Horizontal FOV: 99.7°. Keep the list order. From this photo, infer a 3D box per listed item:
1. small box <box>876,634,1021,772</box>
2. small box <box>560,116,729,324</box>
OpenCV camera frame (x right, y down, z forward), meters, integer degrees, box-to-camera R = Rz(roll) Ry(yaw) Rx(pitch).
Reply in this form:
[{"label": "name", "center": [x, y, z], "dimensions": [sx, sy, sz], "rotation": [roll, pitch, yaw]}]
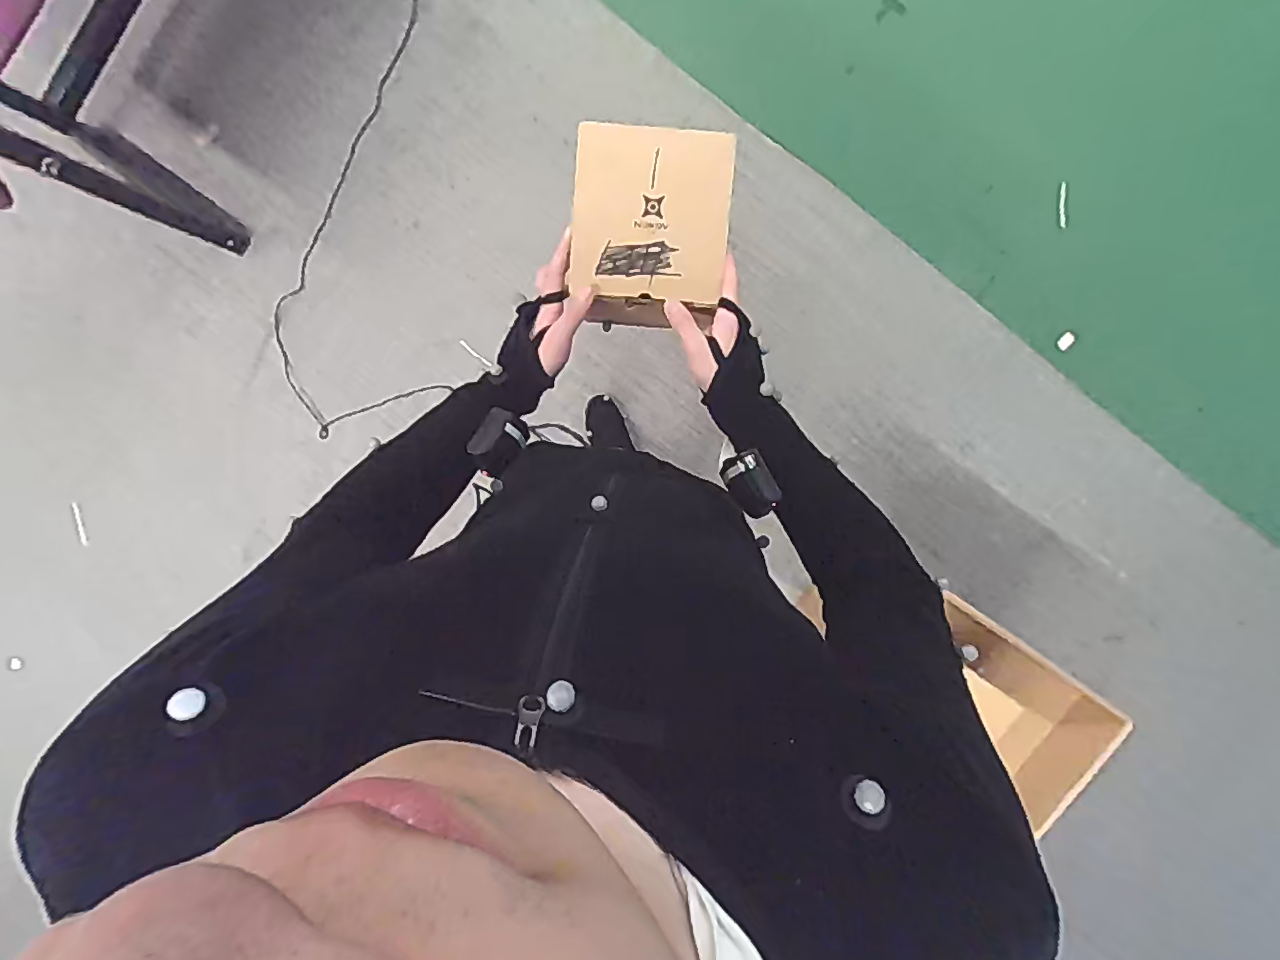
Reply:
[{"label": "small box", "center": [0.638, 0.460, 1.145], "dimensions": [0.168, 0.176, 0.179], "rotation": [35, 96, -2]}, {"label": "small box", "center": [0.004, -0.287, 0.637], "dimensions": [0.168, 0.176, 0.179], "rotation": [4, 96, -1]}]
